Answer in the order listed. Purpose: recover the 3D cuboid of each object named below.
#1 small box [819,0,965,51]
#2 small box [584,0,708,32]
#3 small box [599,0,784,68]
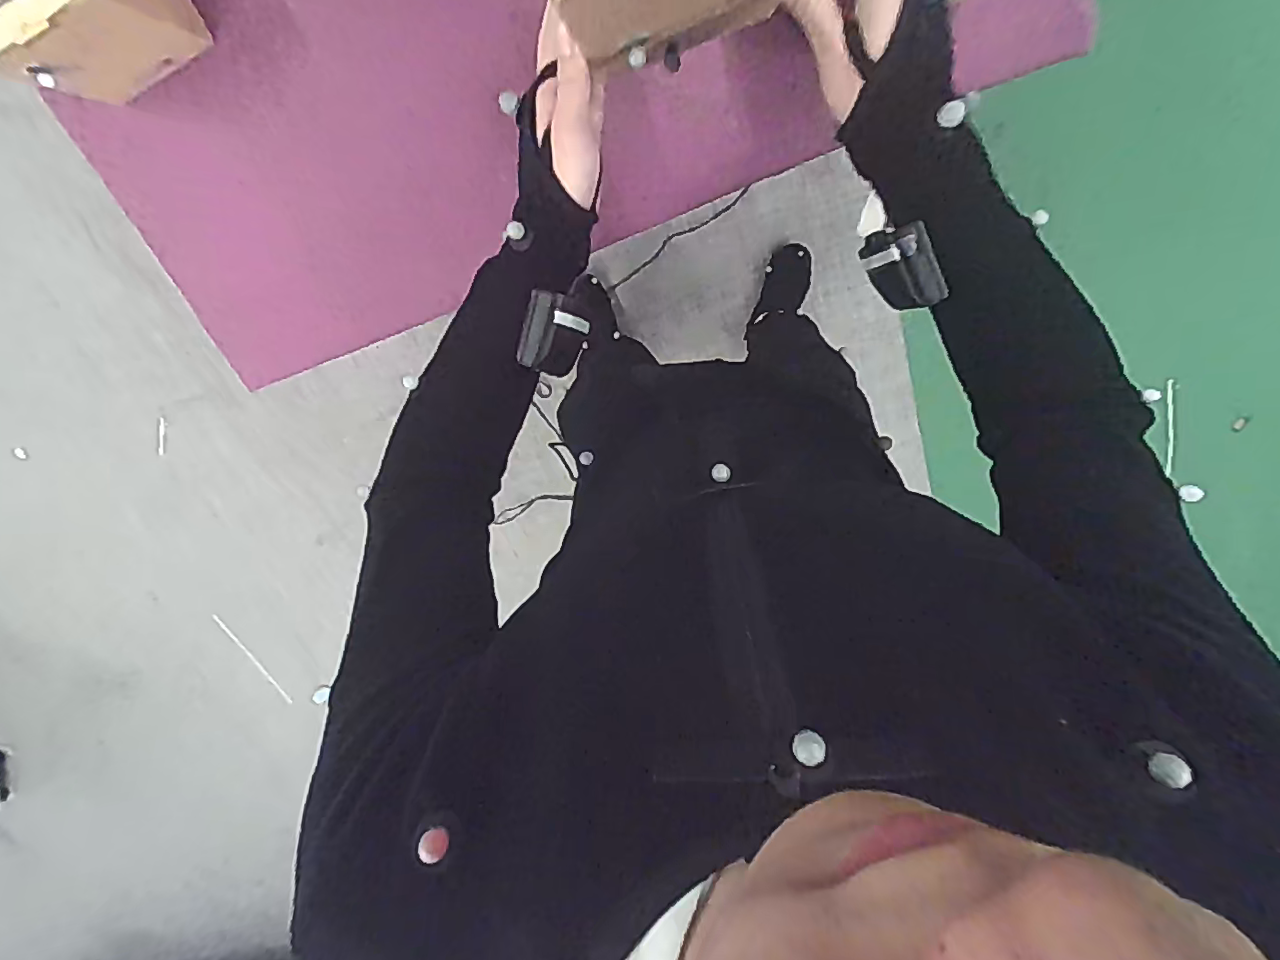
[{"bbox_3d":[0.264,-0.566,0.517,0.168,0.176,0.179,-15,110,11],"label":"small box"},{"bbox_3d":[0.022,-0.347,0.248,0.168,0.176,0.179,-17,116,11],"label":"small box"},{"bbox_3d":[0.026,-0.438,0.385,0.168,0.176,0.179,-15,117,10],"label":"small box"}]
